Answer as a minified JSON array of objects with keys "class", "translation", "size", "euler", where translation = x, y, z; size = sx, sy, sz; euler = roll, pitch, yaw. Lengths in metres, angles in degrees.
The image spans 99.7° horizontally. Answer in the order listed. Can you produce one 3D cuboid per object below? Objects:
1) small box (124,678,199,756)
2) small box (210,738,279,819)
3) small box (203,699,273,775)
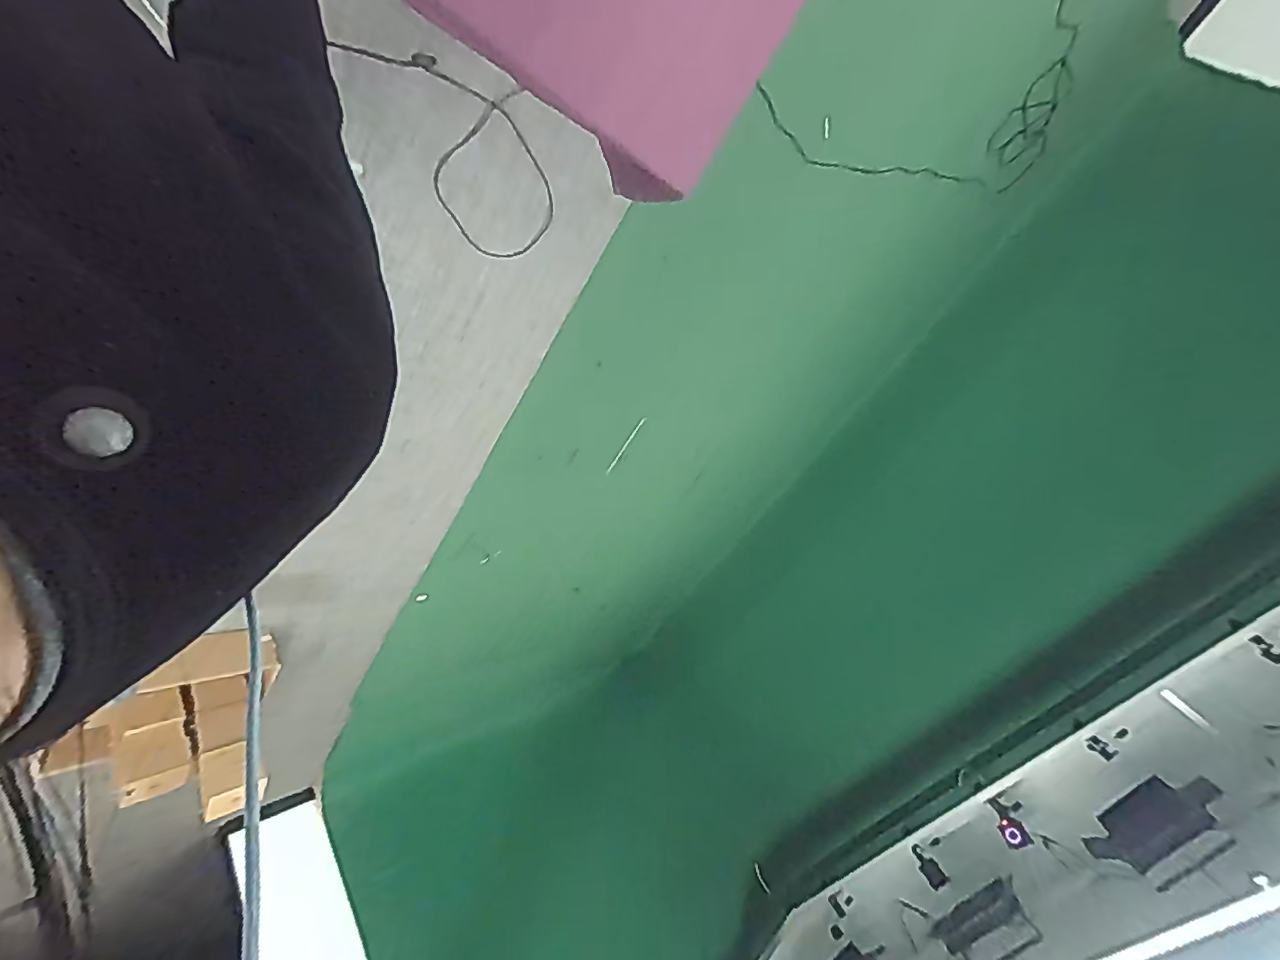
[{"class":"small box","translation":[-1.733,0.850,1.953],"size":[0.168,0.176,0.179],"euler":[2,130,-53]},{"class":"small box","translation":[-1.418,1.054,1.932],"size":[0.168,0.176,0.179],"euler":[-4,135,-46]},{"class":"small box","translation":[-1.510,0.956,2.025],"size":[0.179,0.176,0.168],"euler":[-1,132,-49]}]
